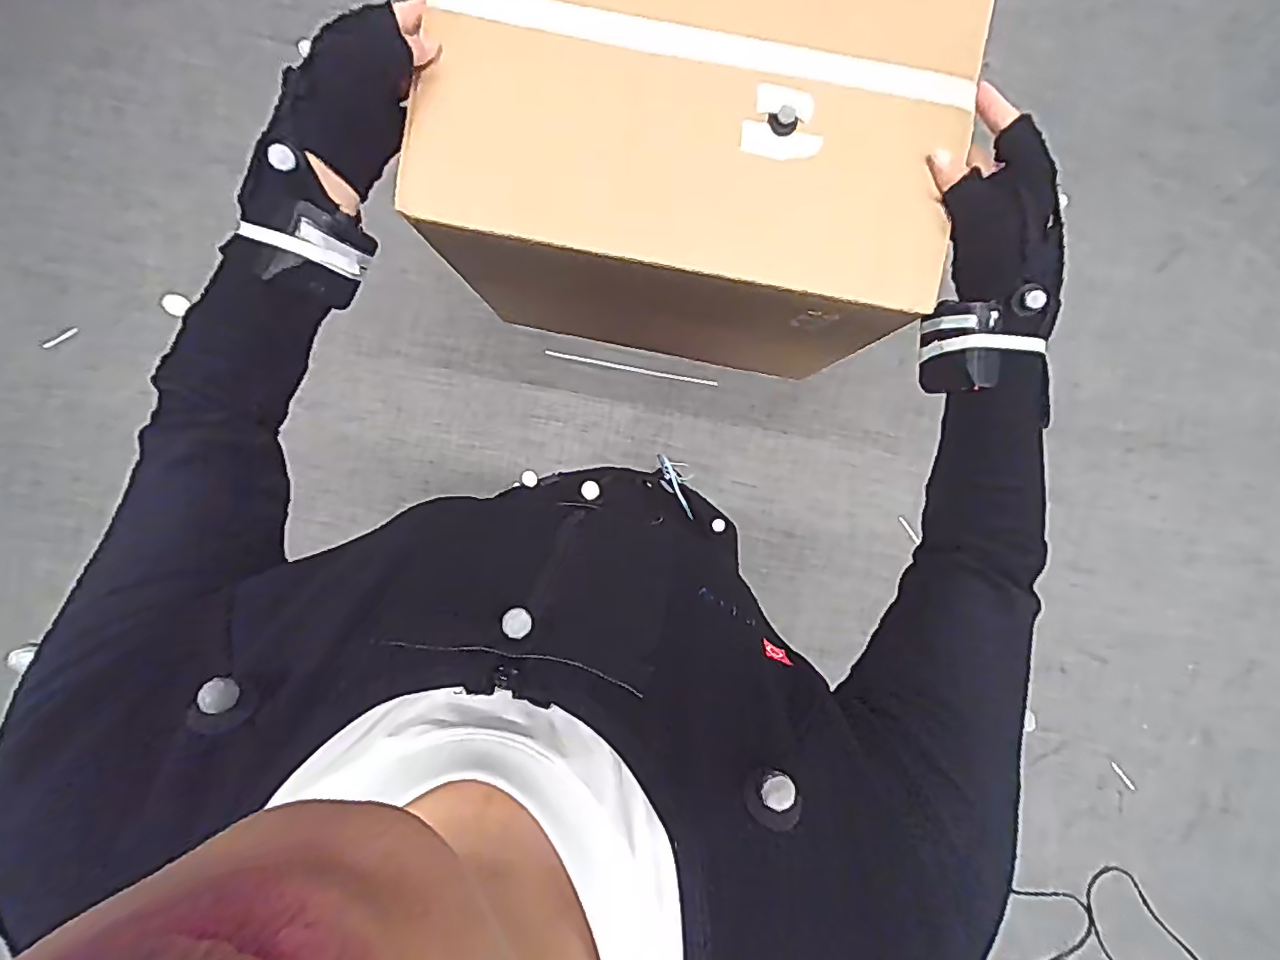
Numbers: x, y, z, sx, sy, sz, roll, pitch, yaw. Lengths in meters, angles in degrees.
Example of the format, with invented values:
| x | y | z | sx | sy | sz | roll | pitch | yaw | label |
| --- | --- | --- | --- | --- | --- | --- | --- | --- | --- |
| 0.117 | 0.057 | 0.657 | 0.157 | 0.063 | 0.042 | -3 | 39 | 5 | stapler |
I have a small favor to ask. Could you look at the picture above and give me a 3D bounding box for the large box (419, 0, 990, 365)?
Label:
| x | y | z | sx | sy | sz | roll | pitch | yaw | label |
| --- | --- | --- | --- | --- | --- | --- | --- | --- | --- |
| 0.050 | -0.326 | 0.552 | 0.408 | 0.320 | 0.320 | 11 | 93 | 0 | large box |
